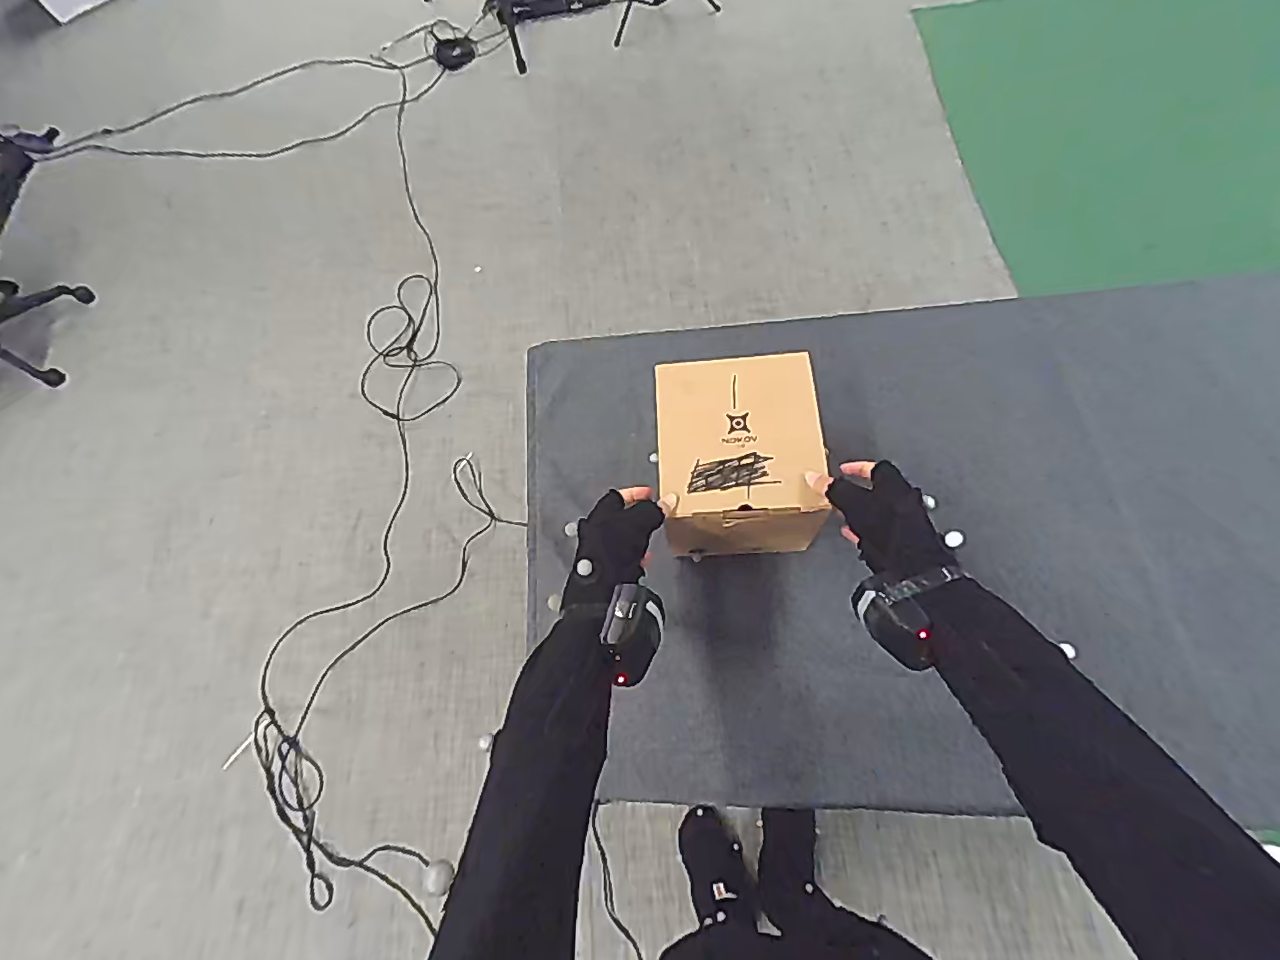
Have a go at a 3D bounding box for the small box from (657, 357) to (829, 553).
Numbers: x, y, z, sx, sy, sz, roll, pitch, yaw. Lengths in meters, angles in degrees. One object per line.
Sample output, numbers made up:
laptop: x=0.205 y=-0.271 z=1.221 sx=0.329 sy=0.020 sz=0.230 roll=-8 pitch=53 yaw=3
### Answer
small box: x=0.111 y=-0.017 z=0.628 sx=0.168 sy=0.176 sz=0.179 roll=-4 pitch=67 yaw=6
